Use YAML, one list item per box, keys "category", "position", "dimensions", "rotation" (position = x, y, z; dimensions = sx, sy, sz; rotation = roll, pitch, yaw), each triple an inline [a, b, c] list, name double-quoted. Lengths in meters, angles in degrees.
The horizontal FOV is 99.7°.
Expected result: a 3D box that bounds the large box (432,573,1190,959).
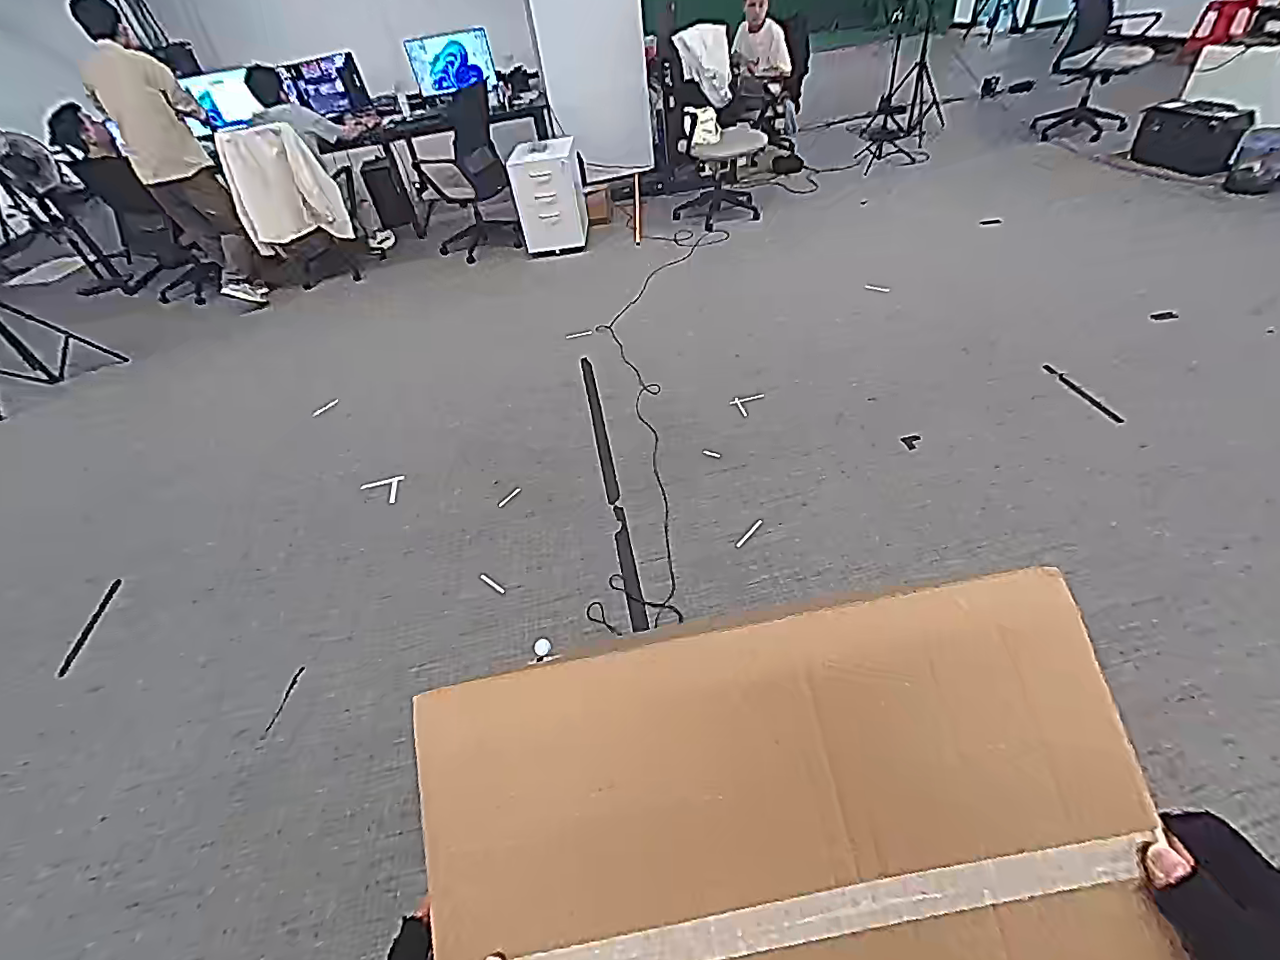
- category: "large box"
  position: [0.098, 0.283, 0.451]
  dimensions: [0.408, 0.320, 0.320]
  rotation: [-12, 76, 1]
